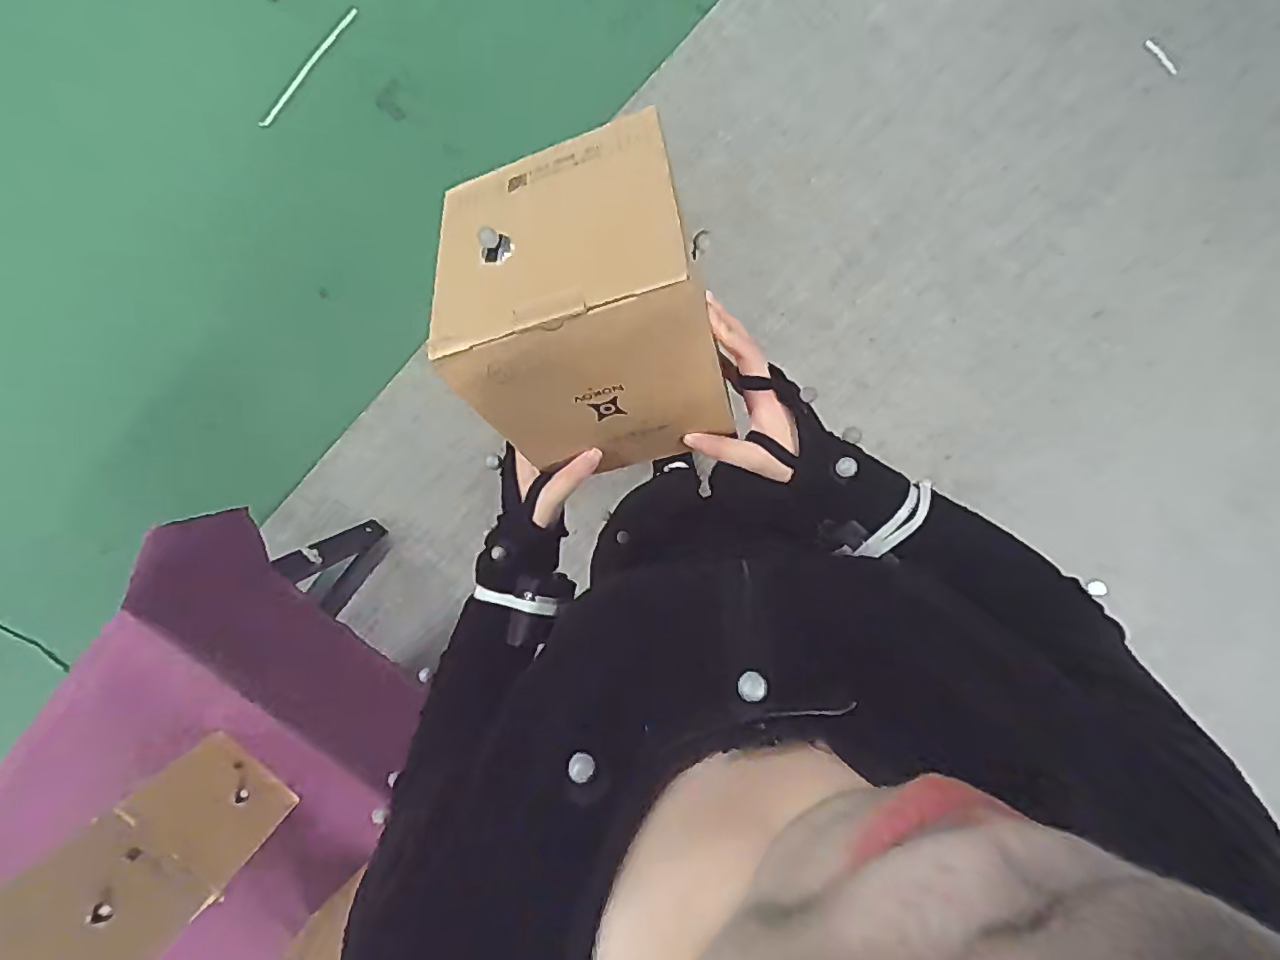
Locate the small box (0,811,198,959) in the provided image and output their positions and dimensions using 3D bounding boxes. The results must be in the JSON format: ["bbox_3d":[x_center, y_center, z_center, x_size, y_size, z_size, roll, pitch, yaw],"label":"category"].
[{"bbox_3d":[-0.644,0.516,0.590,0.168,0.176,0.179,44,96,-4],"label":"small box"}]

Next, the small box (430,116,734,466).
[{"bbox_3d":[-0.033,-0.137,0.414,0.168,0.179,0.176,-12,61,13],"label":"small box"}]

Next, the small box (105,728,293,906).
[{"bbox_3d":[-0.641,0.496,0.754,0.179,0.176,0.168,-44,95,5],"label":"small box"}]

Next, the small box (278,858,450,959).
[{"bbox_3d":[-0.409,0.702,0.775,0.179,0.176,0.168,44,96,-5],"label":"small box"}]
